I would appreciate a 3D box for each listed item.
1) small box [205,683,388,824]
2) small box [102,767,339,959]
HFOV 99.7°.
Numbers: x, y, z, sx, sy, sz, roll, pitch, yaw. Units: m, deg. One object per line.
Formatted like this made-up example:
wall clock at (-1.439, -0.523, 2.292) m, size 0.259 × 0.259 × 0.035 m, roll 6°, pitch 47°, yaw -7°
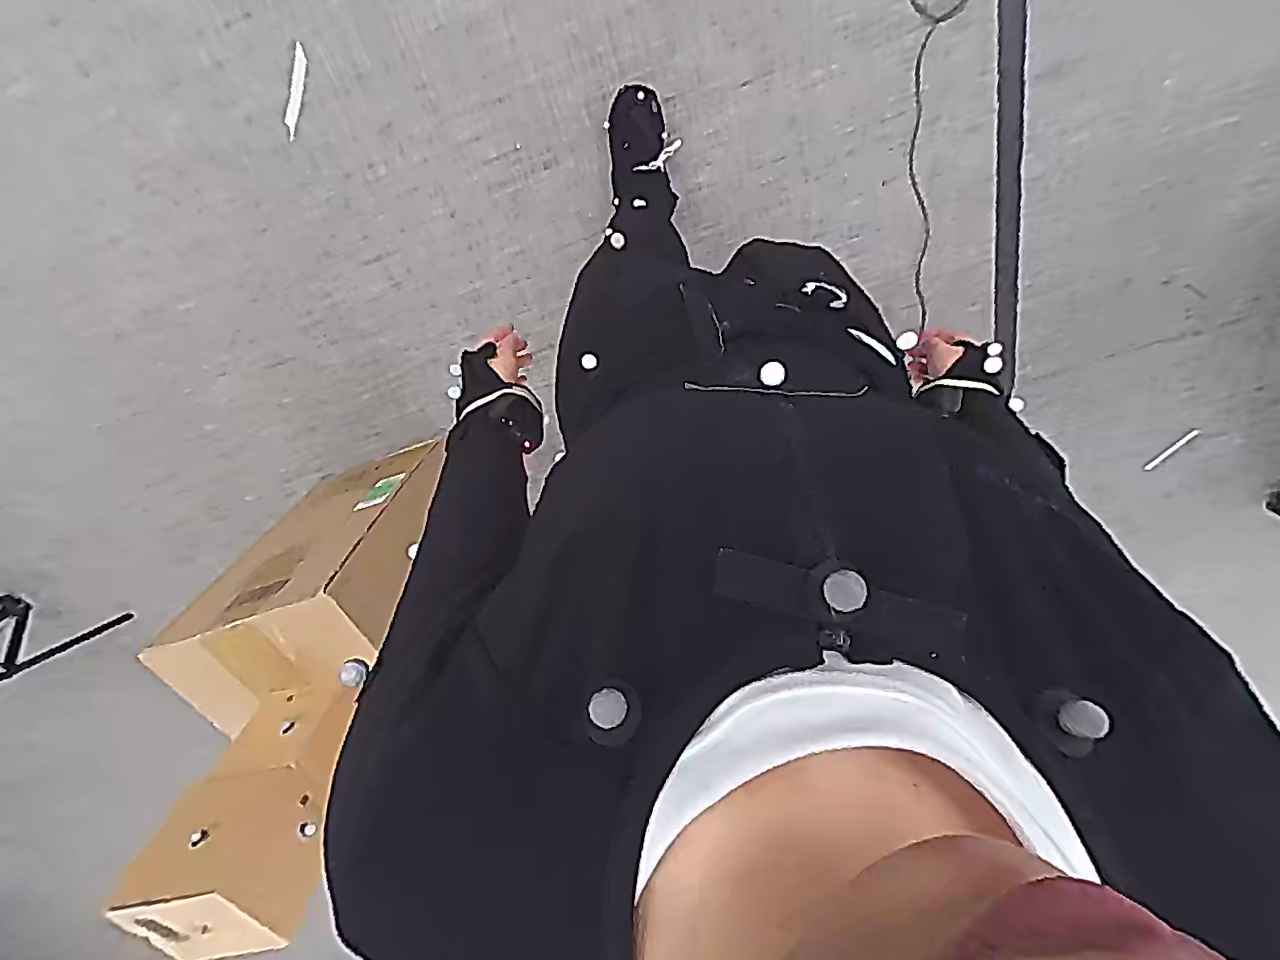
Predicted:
small box at (-0.574, 0.472, 0.933) m, size 0.168 × 0.176 × 0.179 m, roll -14°, pitch 120°, yaw 8°
small box at (-0.590, 0.553, 0.790) m, size 0.179 × 0.176 × 0.168 m, roll -14°, pitch 120°, yaw 7°
